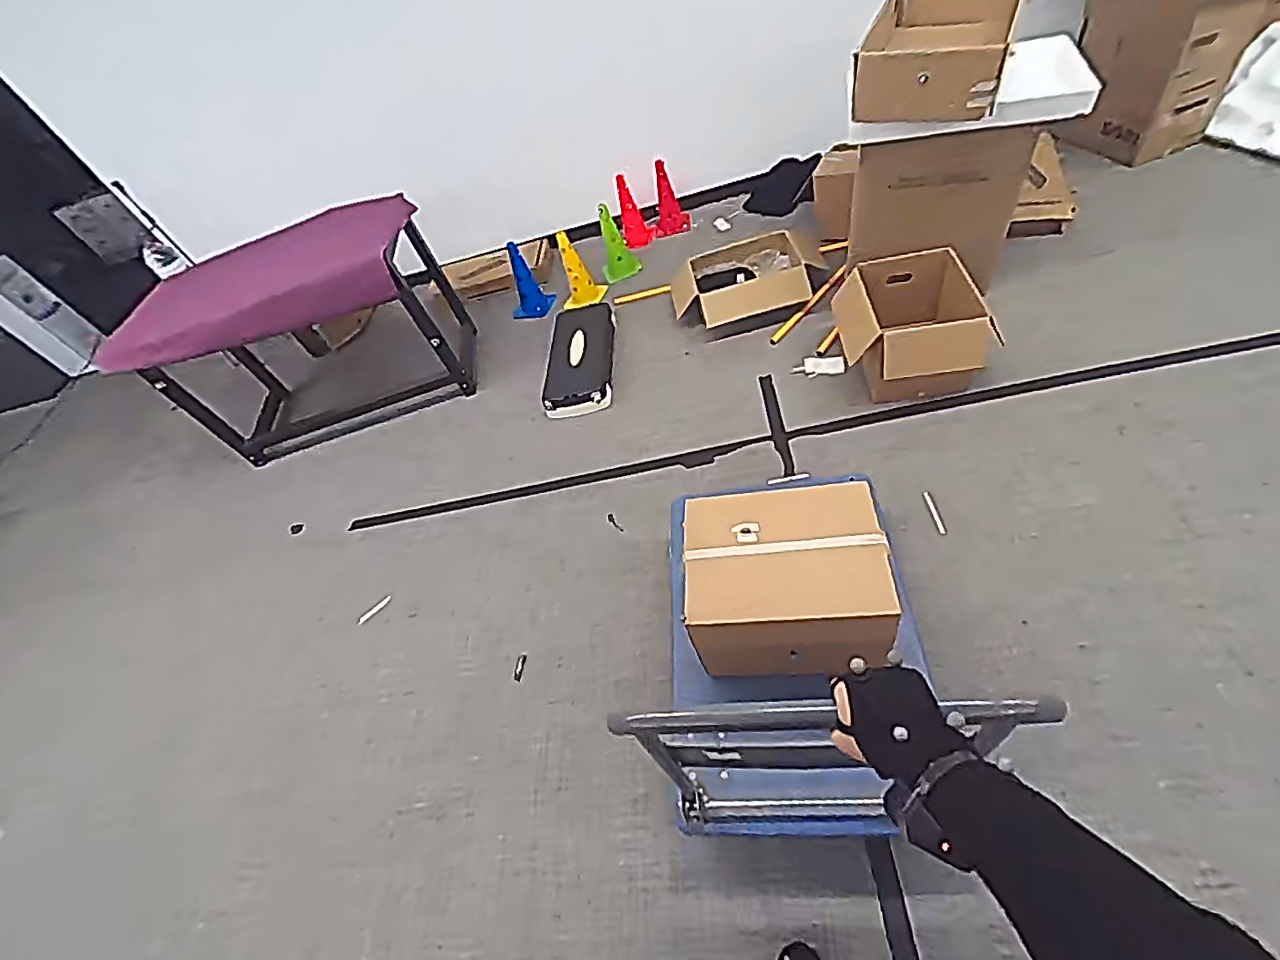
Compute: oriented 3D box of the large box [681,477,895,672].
[{"bbox_3d":[0.322,0.228,1.231,0.408,0.320,0.320,-8,49,14],"label":"large box"}]
